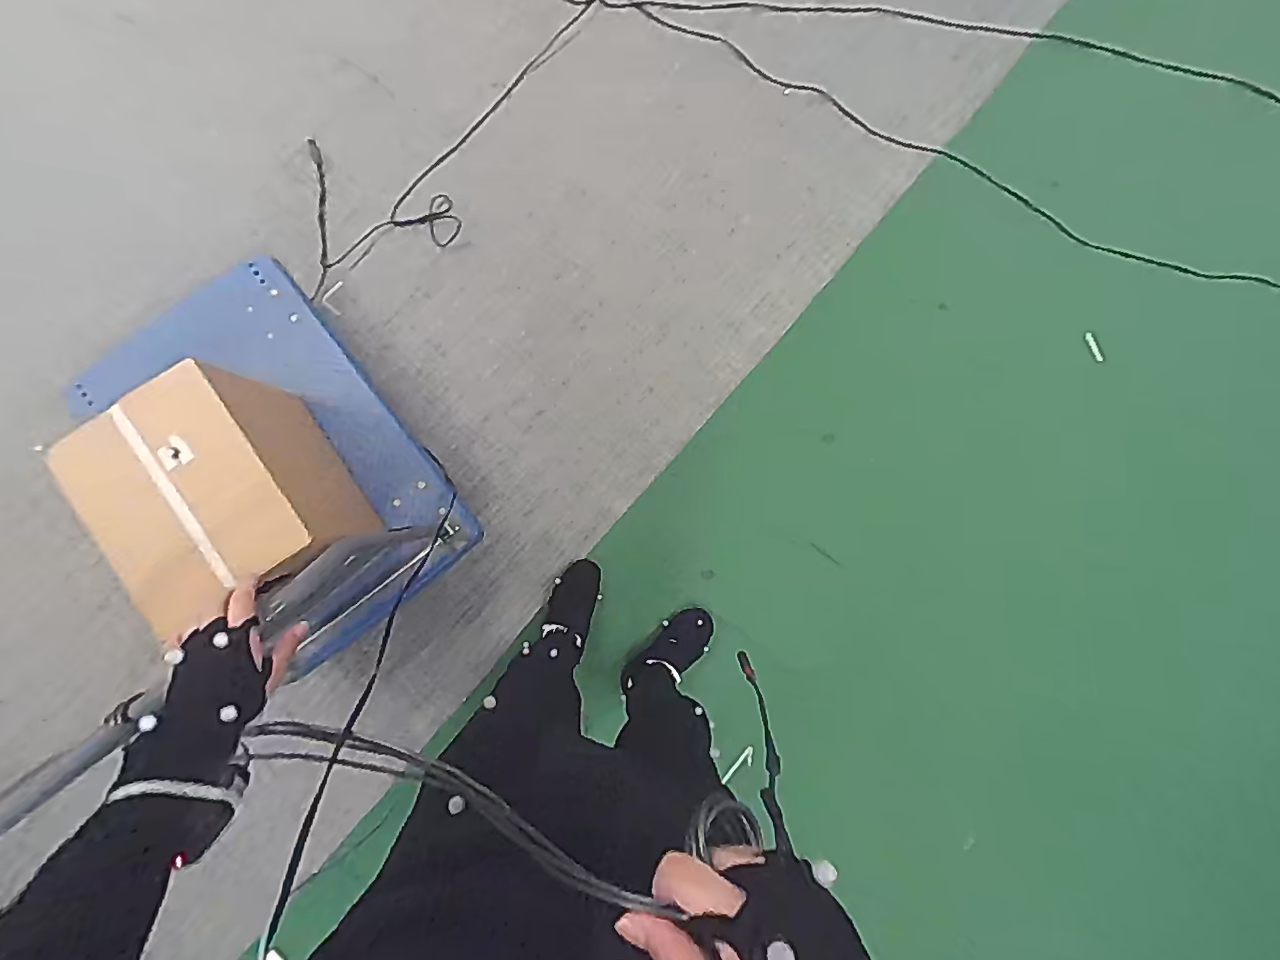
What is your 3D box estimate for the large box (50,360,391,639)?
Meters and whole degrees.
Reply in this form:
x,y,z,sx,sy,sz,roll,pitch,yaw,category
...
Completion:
x,y,z,sx,sy,sz,roll,pitch,yaw,category
-0.798,0.040,1.092,0.320,0.320,0.408,-34,87,-3,large box
